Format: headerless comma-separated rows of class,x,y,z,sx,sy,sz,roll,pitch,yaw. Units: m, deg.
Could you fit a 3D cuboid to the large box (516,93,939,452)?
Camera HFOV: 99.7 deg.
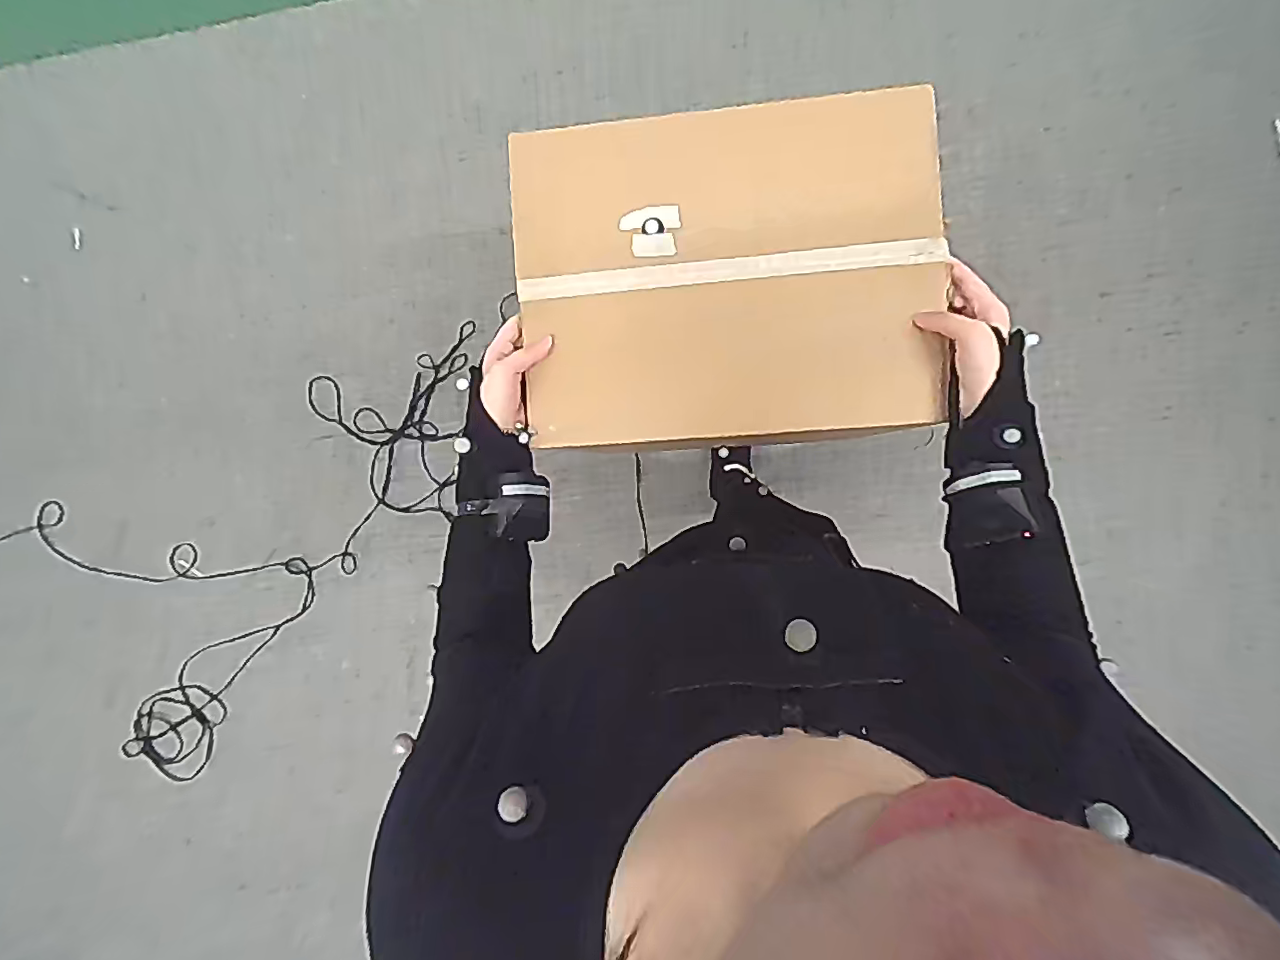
large box,0.098,-0.204,0.683,0.408,0.320,0.320,-4,90,7
